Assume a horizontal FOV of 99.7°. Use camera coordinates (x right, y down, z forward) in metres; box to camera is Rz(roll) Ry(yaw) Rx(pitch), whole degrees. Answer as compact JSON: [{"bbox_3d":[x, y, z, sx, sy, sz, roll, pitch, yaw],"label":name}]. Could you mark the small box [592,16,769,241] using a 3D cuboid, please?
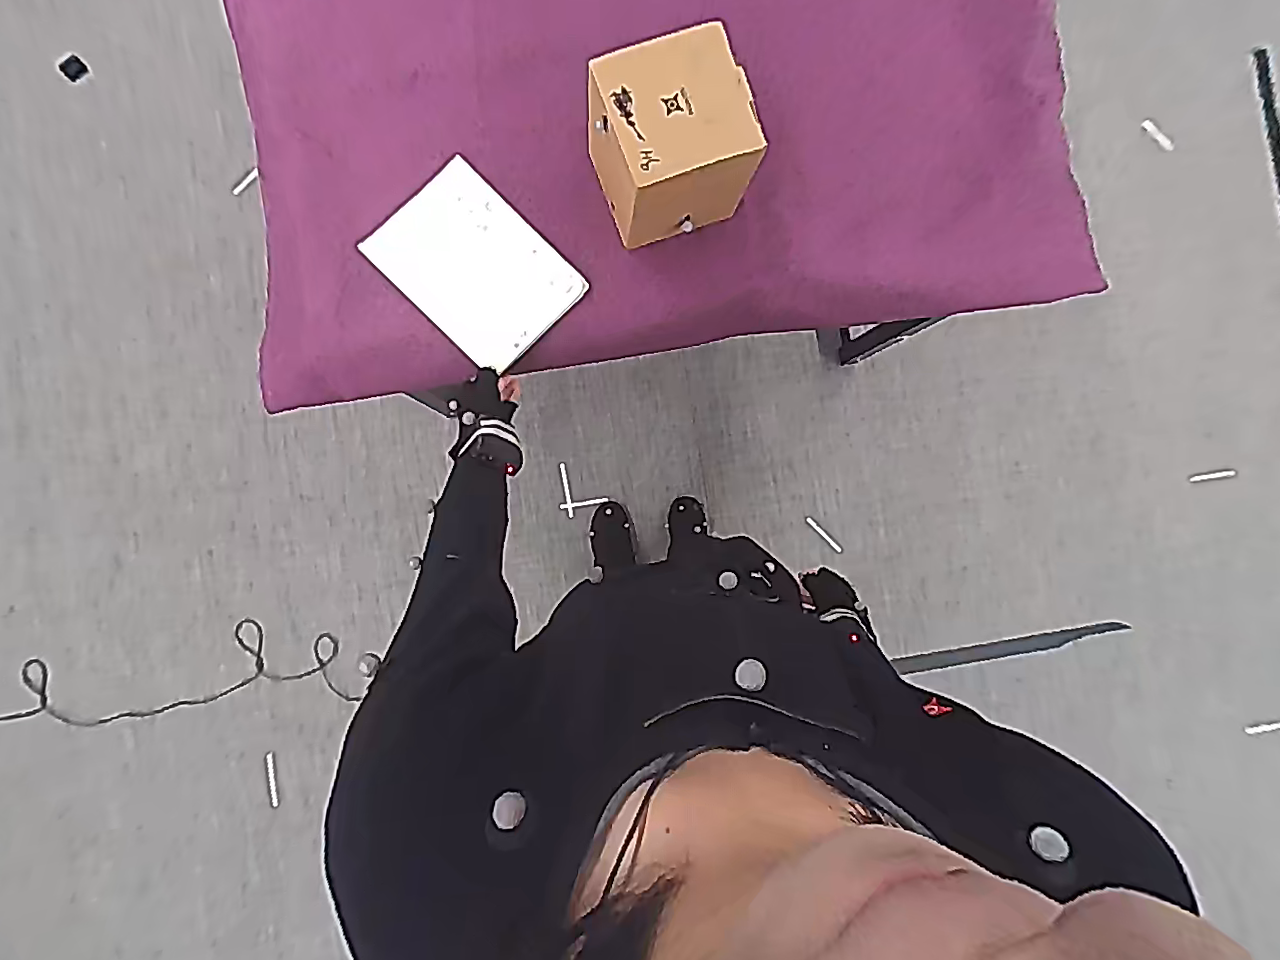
[{"bbox_3d":[0.042,-0.454,0.724,0.179,0.176,0.168,-21,89,-6],"label":"small box"}]
